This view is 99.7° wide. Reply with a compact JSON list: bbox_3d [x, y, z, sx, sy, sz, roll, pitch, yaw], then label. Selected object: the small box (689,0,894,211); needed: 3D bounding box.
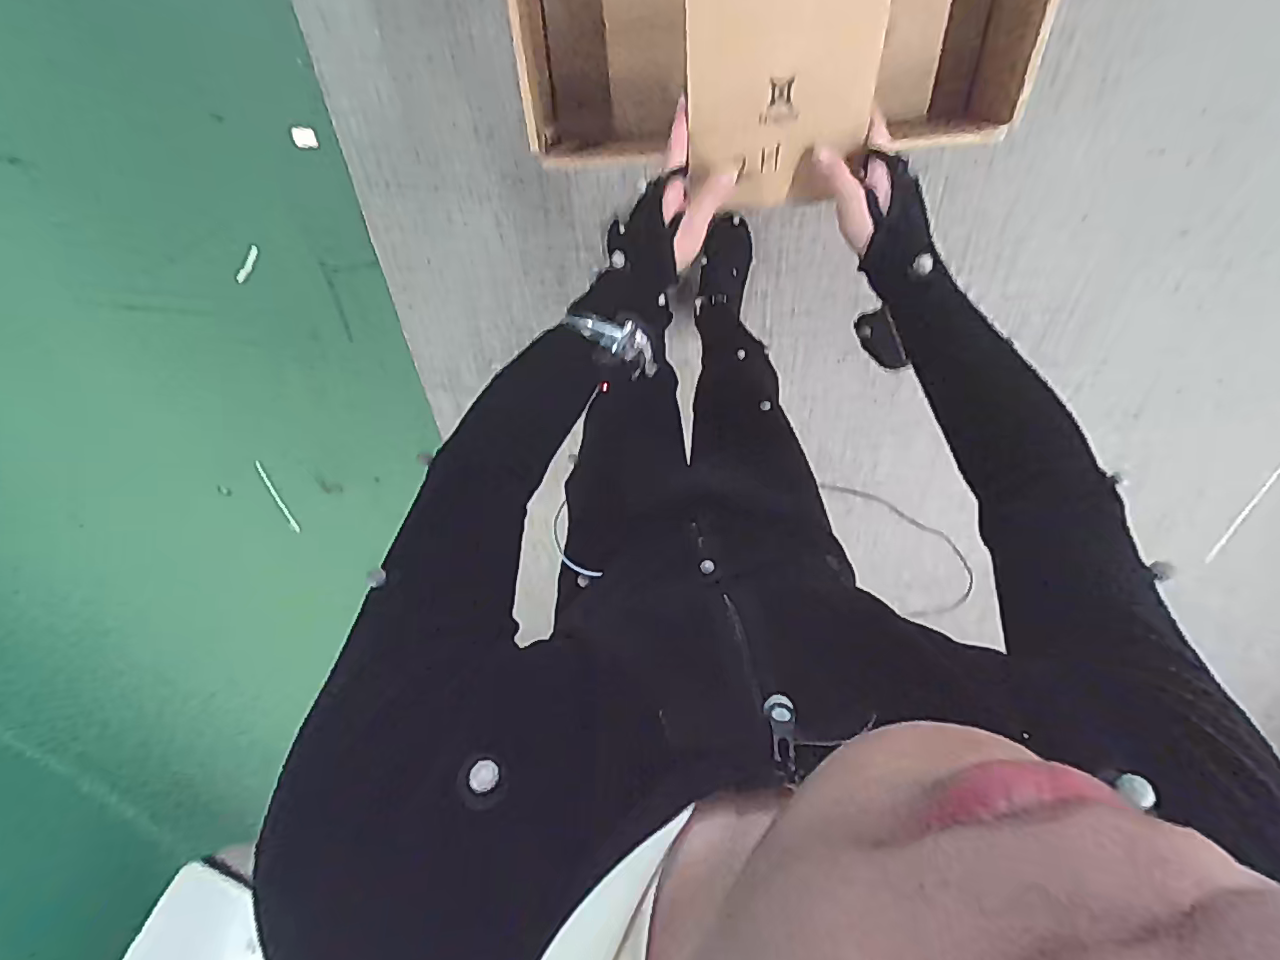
[{"bbox_3d":[0.132,-0.391,0.537,0.168,0.176,0.179,0,136,7],"label":"small box"}]
